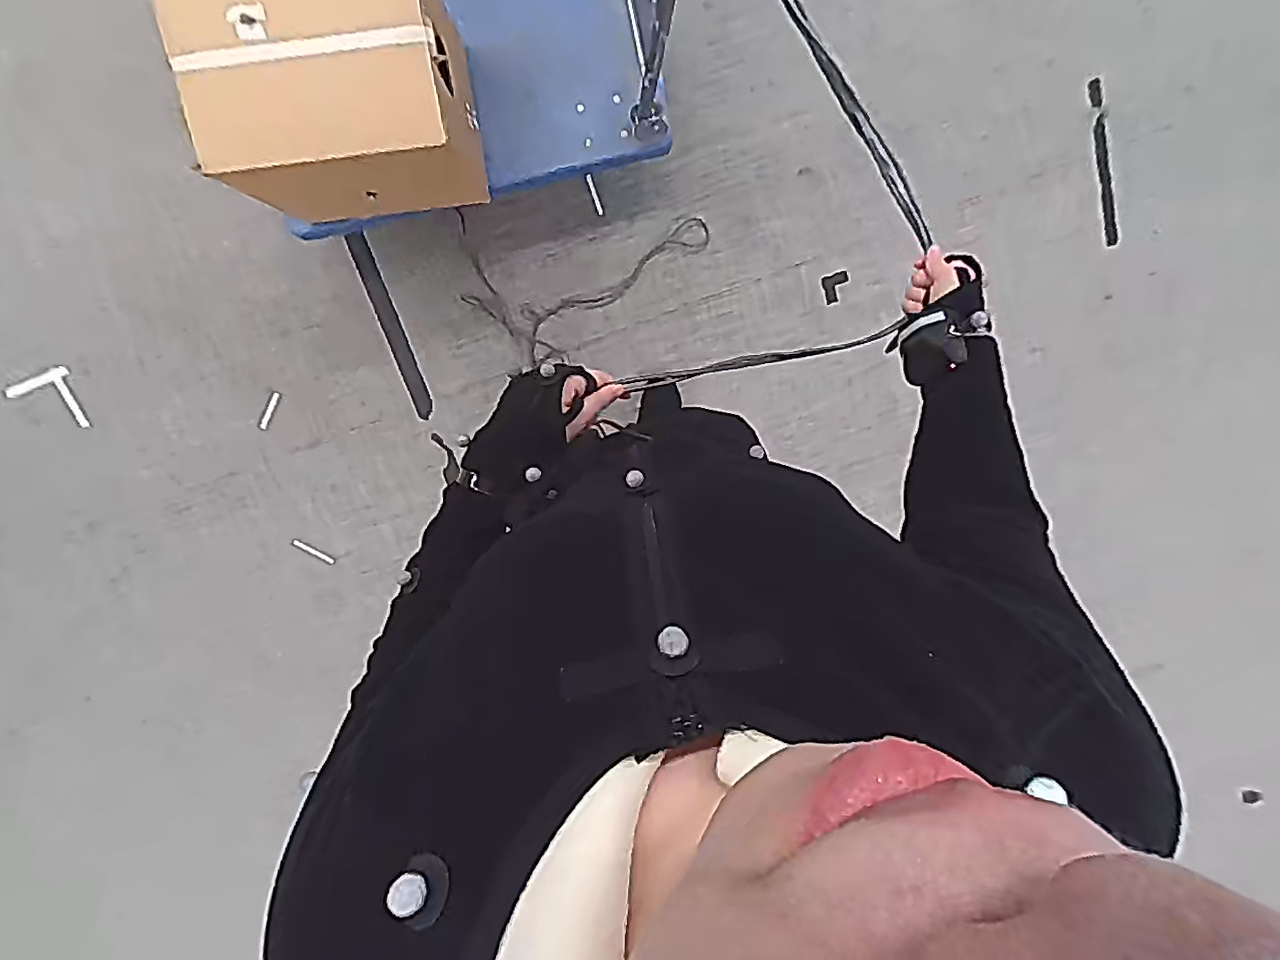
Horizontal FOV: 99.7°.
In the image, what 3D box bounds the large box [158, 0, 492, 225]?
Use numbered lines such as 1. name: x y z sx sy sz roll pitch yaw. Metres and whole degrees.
1. large box: -0.530 -0.692 0.993 0.408 0.320 0.320 -8 101 0
